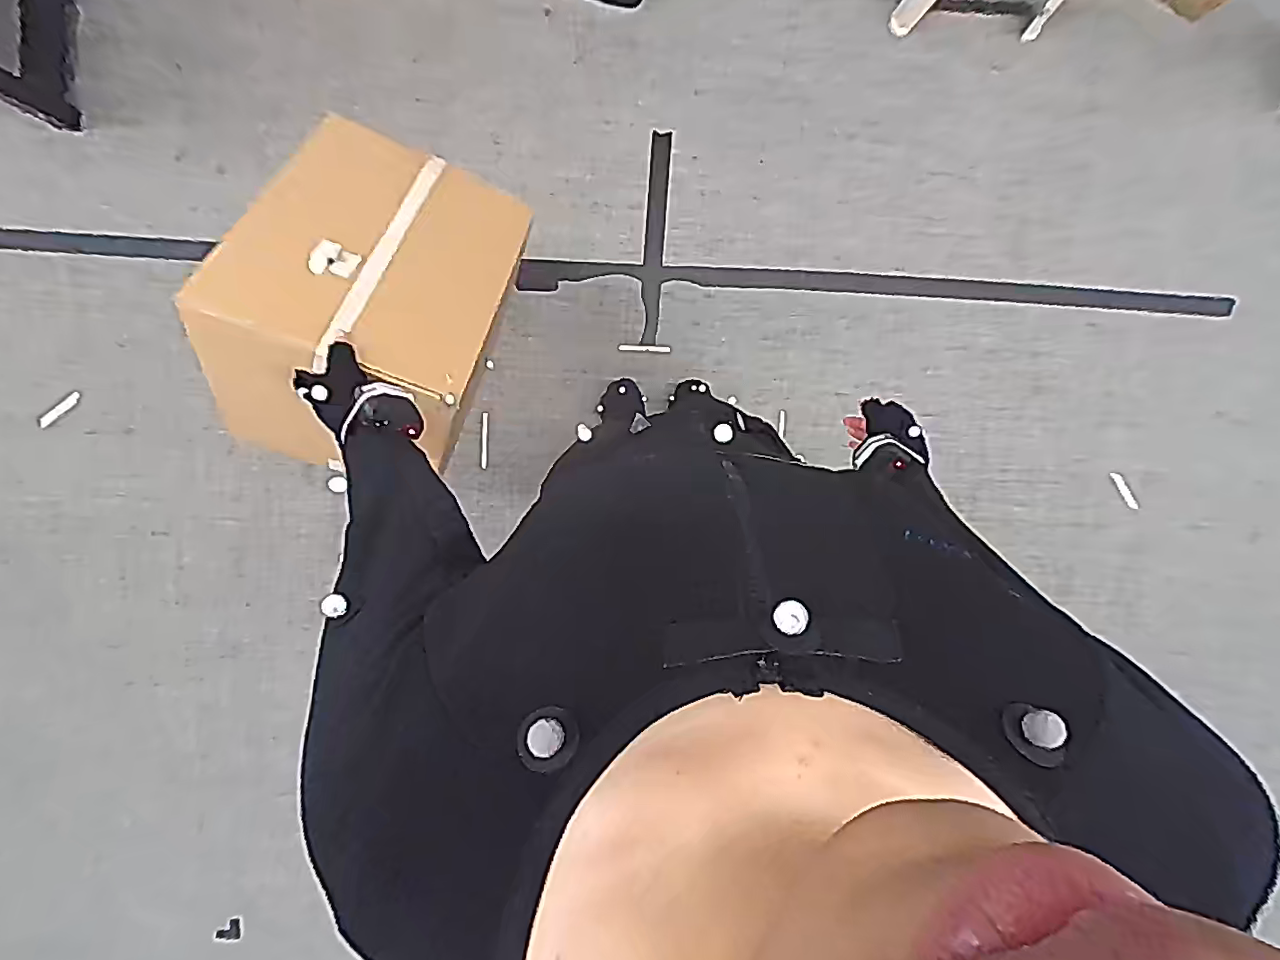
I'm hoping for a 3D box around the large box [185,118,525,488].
[{"bbox_3d":[-0.411,-0.258,0.868,0.320,0.320,0.408,19,60,-16],"label":"large box"}]
